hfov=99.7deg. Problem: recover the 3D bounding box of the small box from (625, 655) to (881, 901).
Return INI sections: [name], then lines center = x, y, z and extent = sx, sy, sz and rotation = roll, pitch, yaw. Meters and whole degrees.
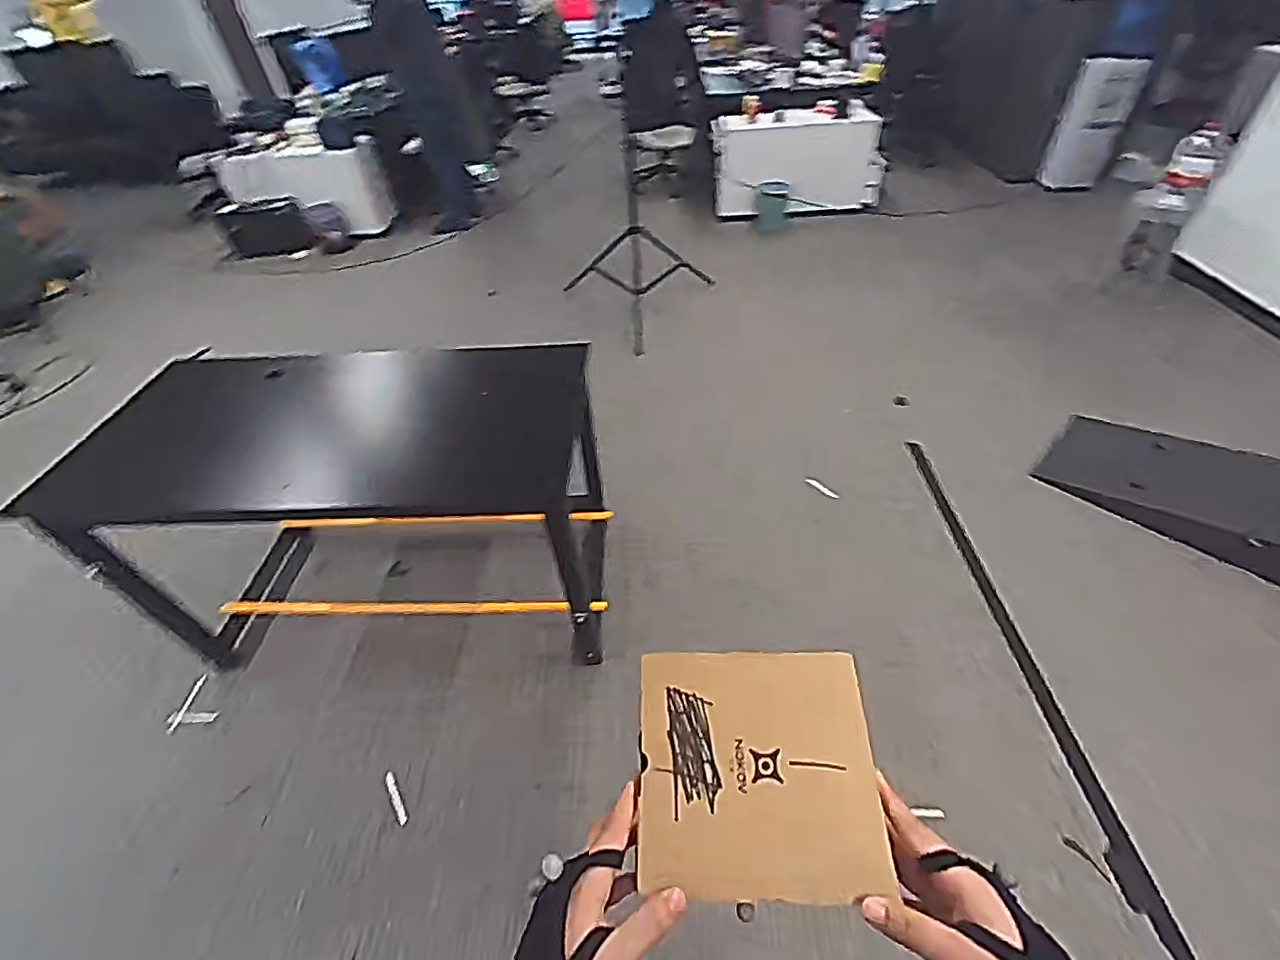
[small box]
center = 0.086, 0.261, 0.477
extent = 0.179, 0.176, 0.168
rotation = -2, 56, 5
